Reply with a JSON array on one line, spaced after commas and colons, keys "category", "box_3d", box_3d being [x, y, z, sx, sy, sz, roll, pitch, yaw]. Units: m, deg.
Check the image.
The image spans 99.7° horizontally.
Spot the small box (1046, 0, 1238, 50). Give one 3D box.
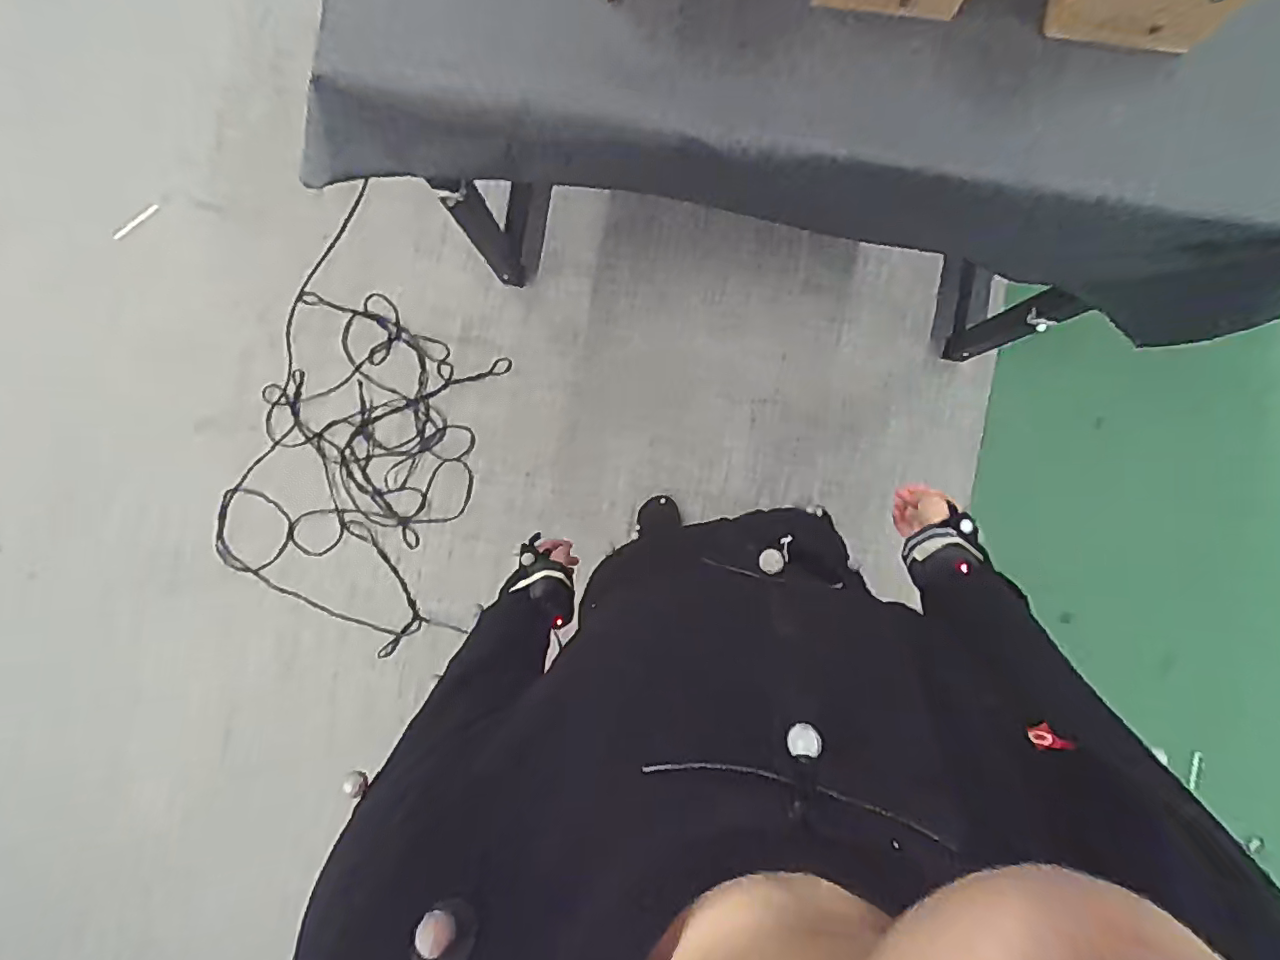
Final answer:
[{"category": "small box", "box_3d": [0.553, -0.584, 0.543, 0.168, 0.176, 0.179, 8, 88, 0]}]
